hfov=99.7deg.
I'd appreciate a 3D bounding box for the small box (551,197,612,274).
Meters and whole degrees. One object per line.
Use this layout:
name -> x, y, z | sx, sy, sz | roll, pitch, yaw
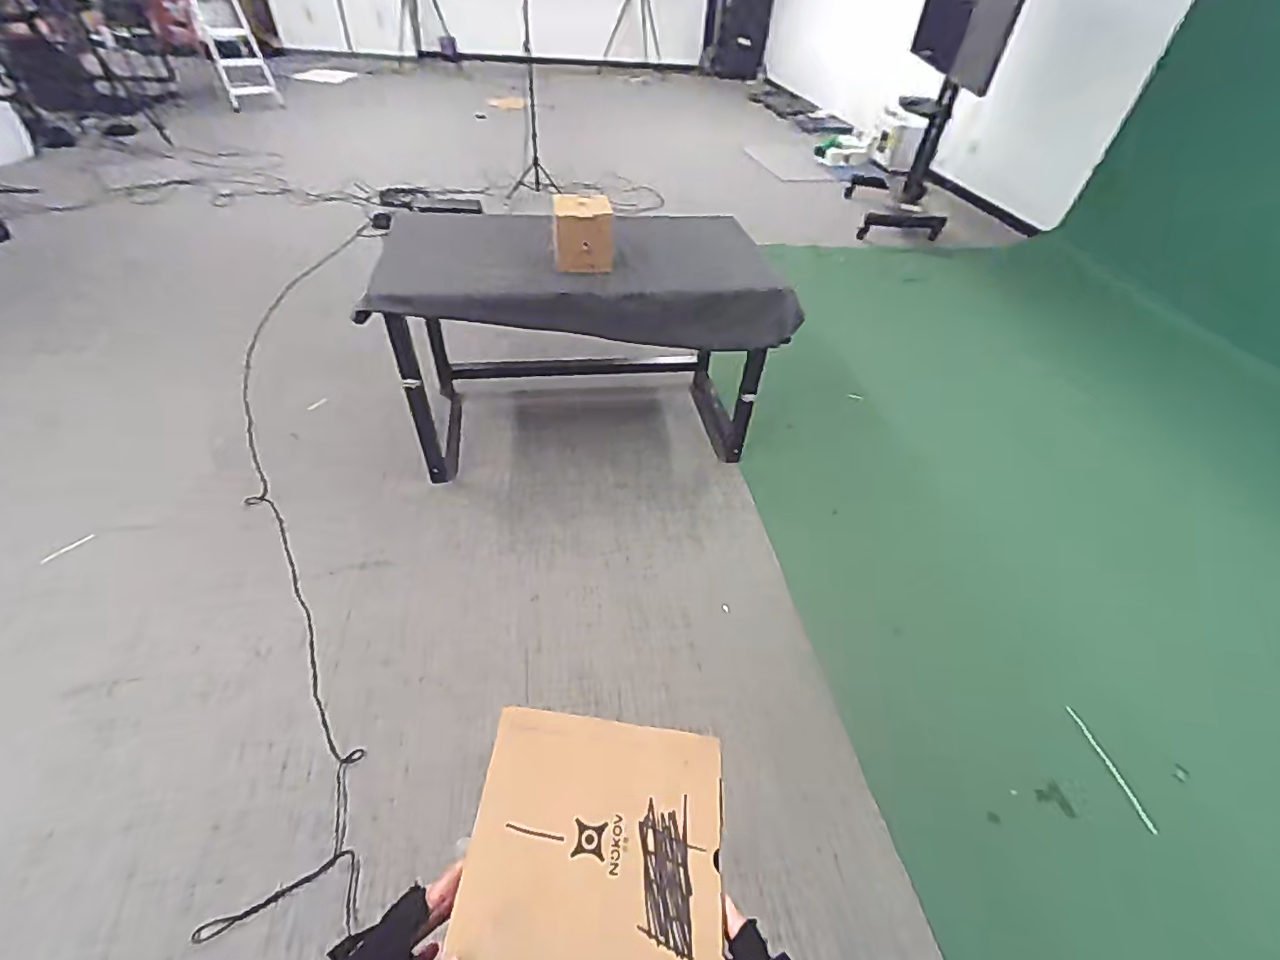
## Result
small box -> -0.176, -0.735, 1.630 | 0.168, 0.176, 0.179 | -5, 45, -9
